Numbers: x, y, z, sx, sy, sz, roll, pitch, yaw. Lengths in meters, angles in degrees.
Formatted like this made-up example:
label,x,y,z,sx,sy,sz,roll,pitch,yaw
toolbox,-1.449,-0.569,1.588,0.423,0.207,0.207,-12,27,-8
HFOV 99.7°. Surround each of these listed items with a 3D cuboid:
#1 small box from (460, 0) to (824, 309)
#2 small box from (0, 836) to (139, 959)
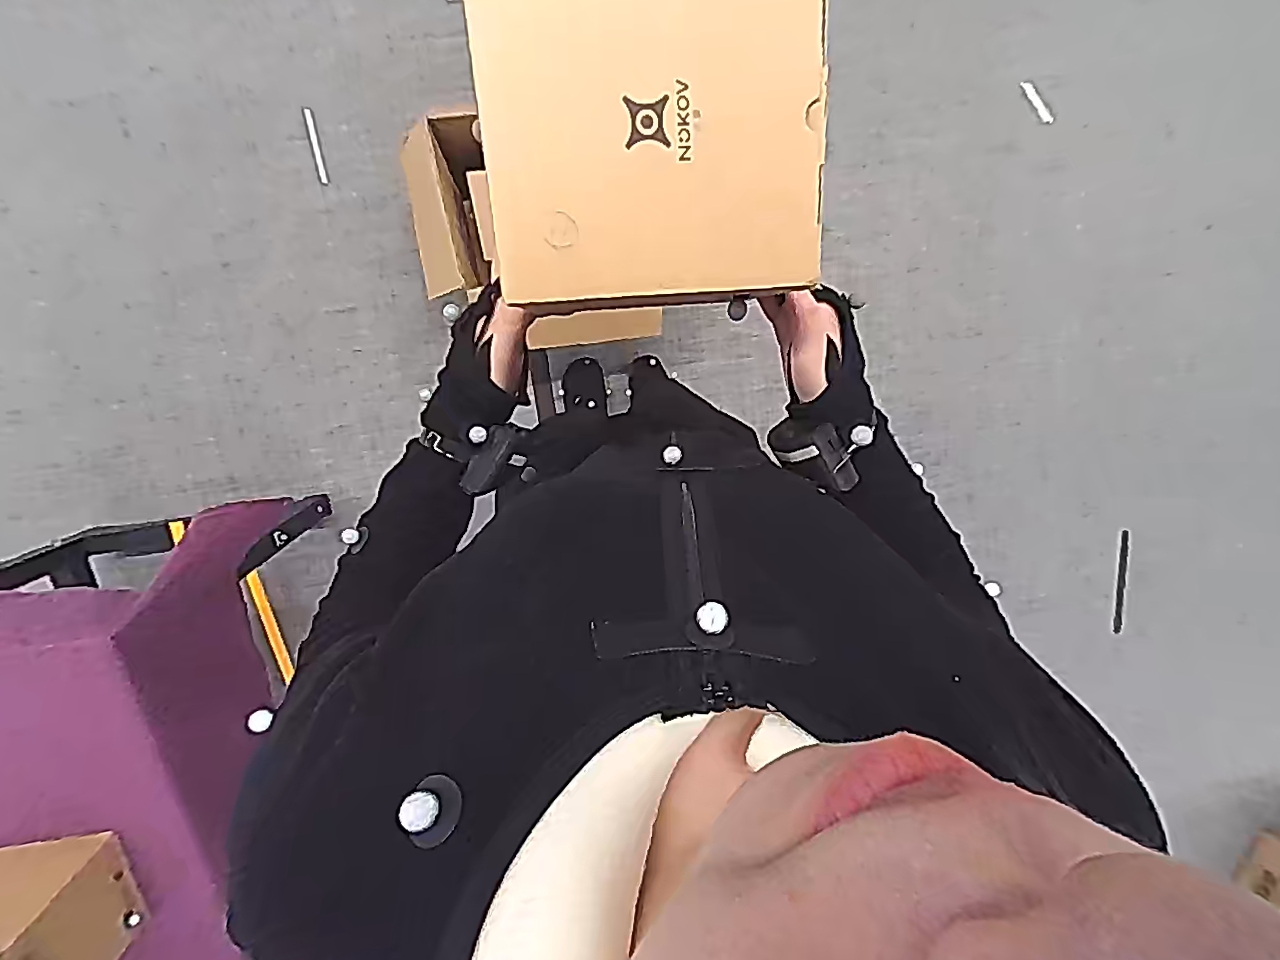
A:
label,x,y,z,sx,sy,sz,roll,pitch,yaw
small box,0.000,-0.202,0.345,0.179,0.176,0.168,-6,106,-5
small box,-0.815,0.605,0.707,0.179,0.176,0.168,-5,105,-6
